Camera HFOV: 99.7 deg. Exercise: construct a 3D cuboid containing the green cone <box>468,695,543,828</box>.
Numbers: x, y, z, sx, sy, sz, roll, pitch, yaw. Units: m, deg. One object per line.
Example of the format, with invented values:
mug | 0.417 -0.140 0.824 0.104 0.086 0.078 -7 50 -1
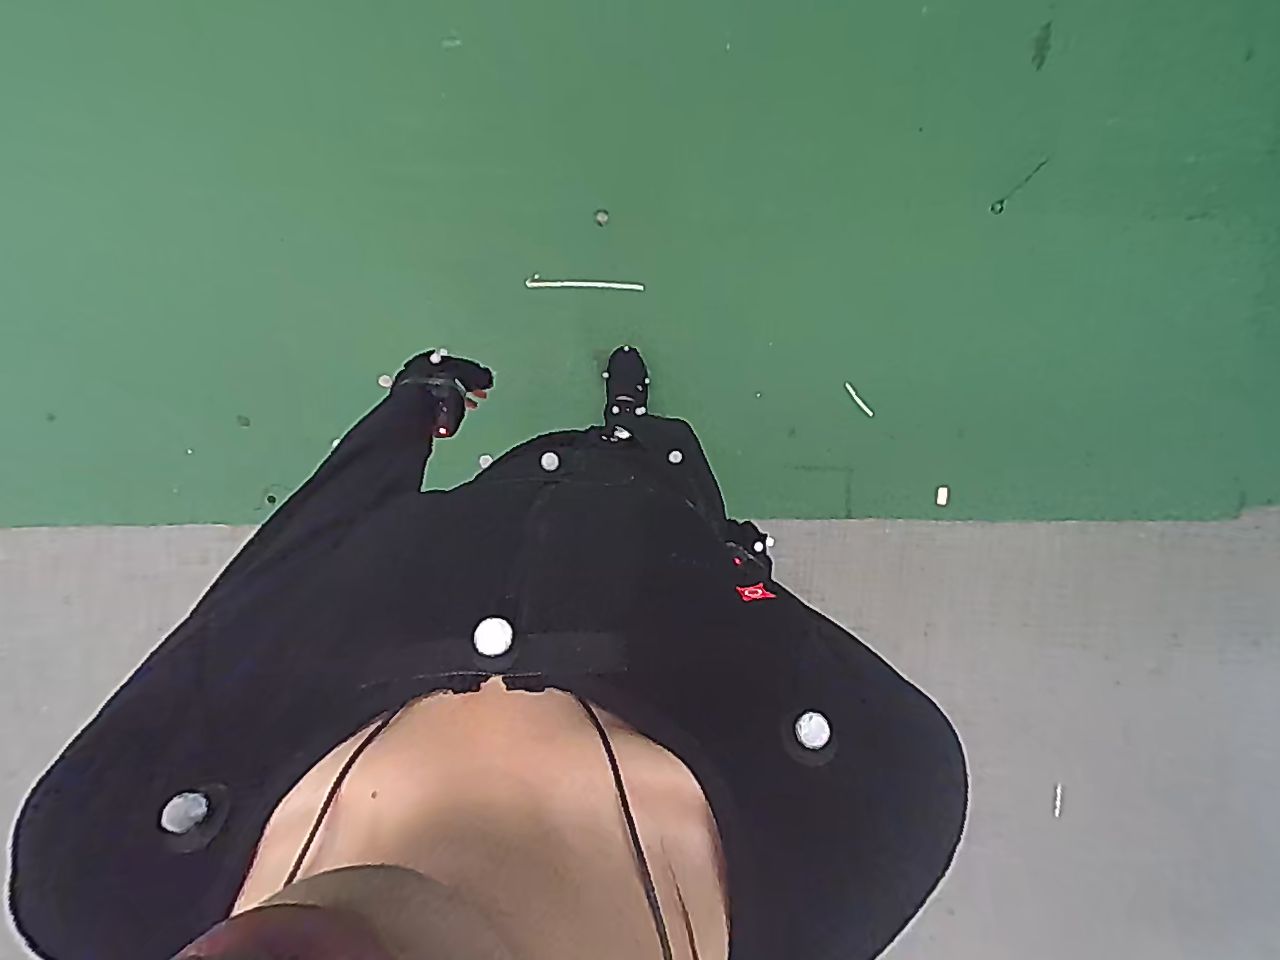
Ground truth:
green cone | -0.374 0.733 1.382 0.200 0.368 0.202 2 96 -2
